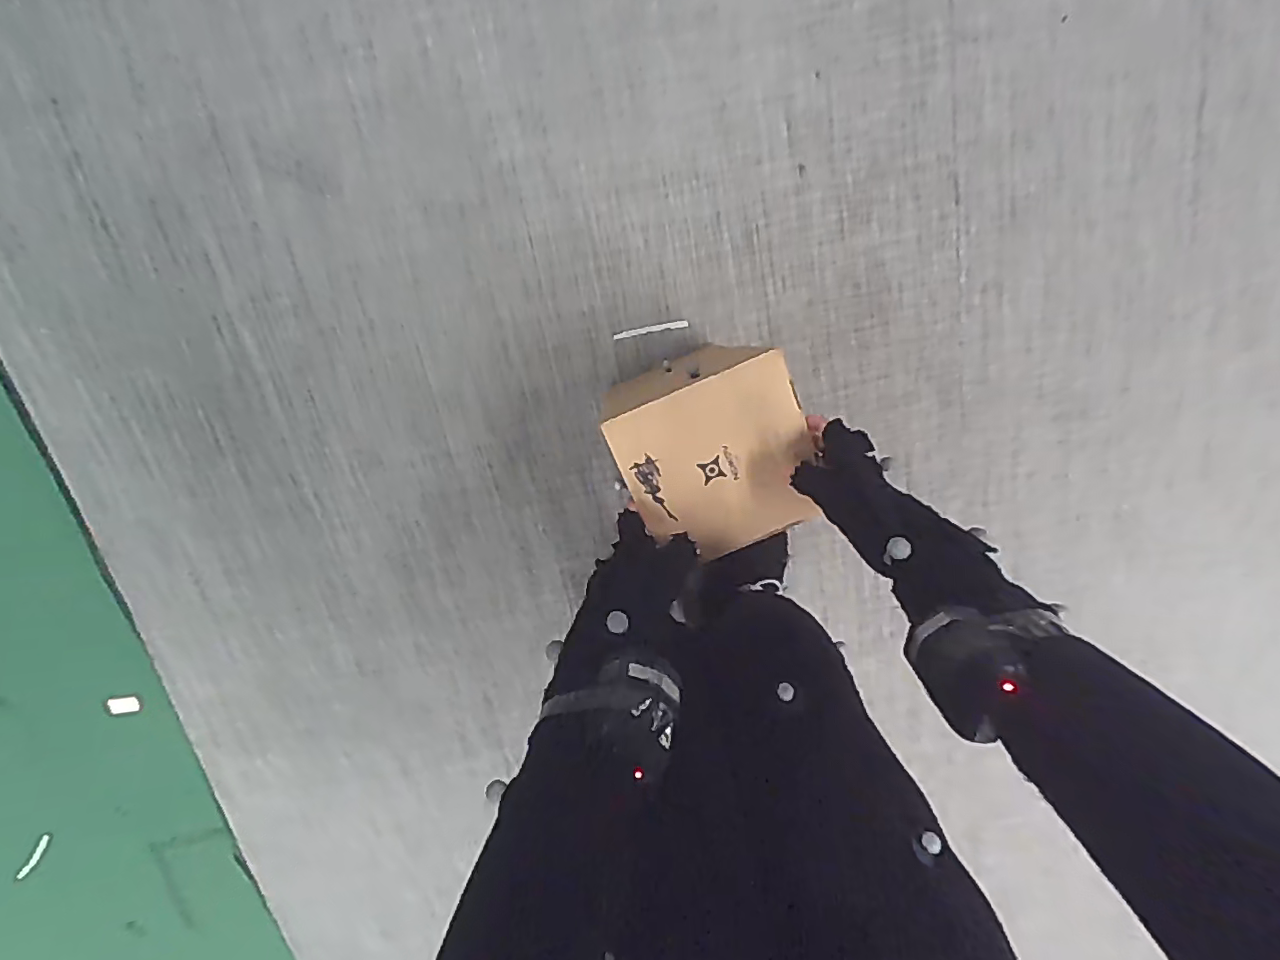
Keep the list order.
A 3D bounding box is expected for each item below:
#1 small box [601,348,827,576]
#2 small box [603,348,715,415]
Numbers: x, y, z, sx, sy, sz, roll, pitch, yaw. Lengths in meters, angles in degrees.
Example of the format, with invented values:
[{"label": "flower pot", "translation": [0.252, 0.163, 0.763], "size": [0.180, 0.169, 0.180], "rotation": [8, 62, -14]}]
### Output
[{"label": "small box", "translation": [0.068, -0.032, 0.584], "size": [0.179, 0.176, 0.168], "rotation": [-25, 106, 5]}, {"label": "small box", "translation": [0.059, -0.073, 0.740], "size": [0.179, 0.176, 0.168], "rotation": [-23, 105, 5]}]
